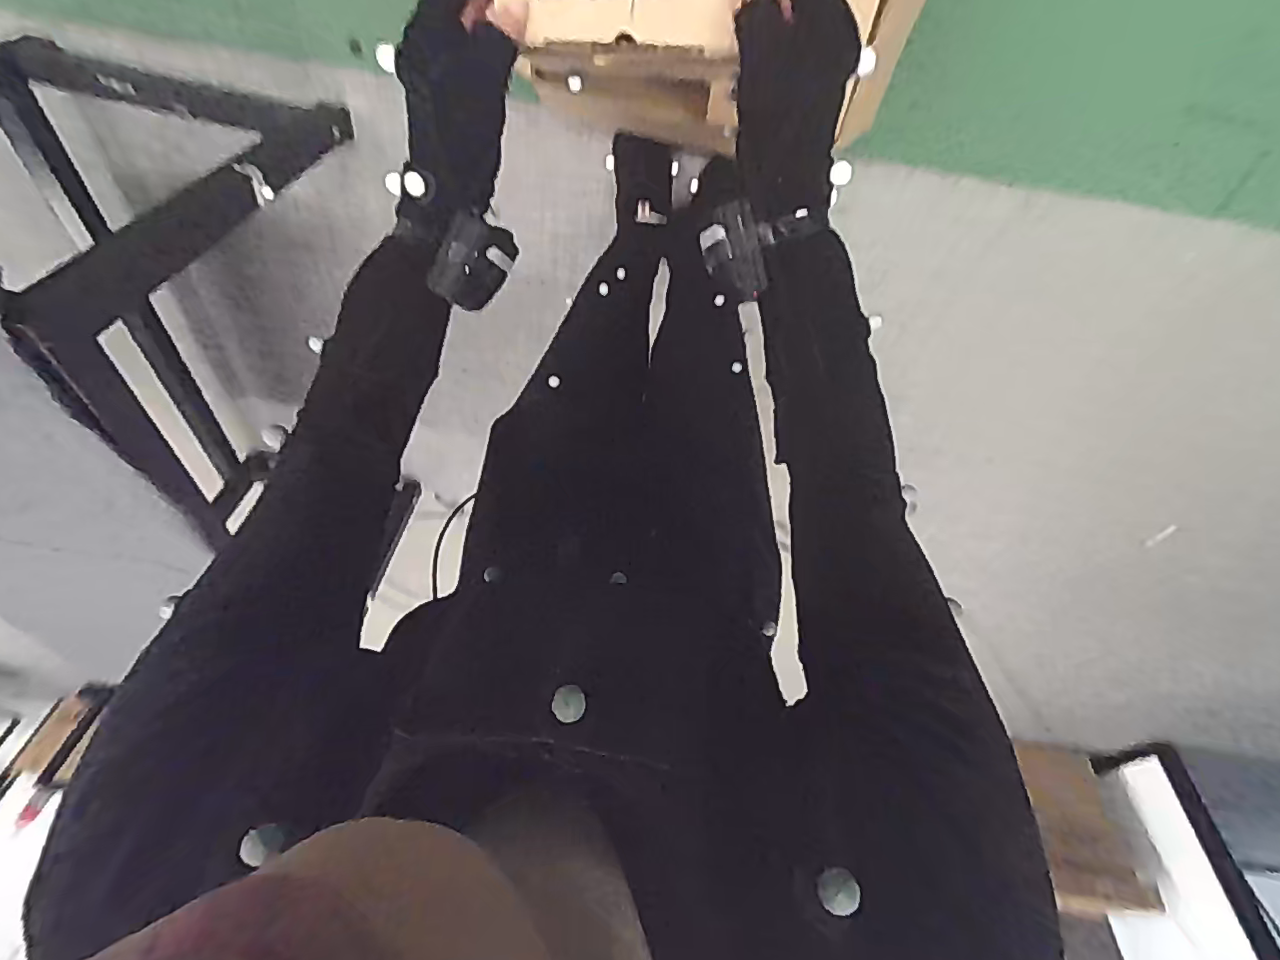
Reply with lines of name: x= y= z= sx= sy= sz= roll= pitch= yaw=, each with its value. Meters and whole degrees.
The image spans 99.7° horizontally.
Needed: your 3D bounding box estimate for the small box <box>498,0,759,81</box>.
small box: x=-0.001 y=-0.388 z=0.368 sx=0.168 sy=0.176 sz=0.179 roll=3 pitch=121 yaw=1
